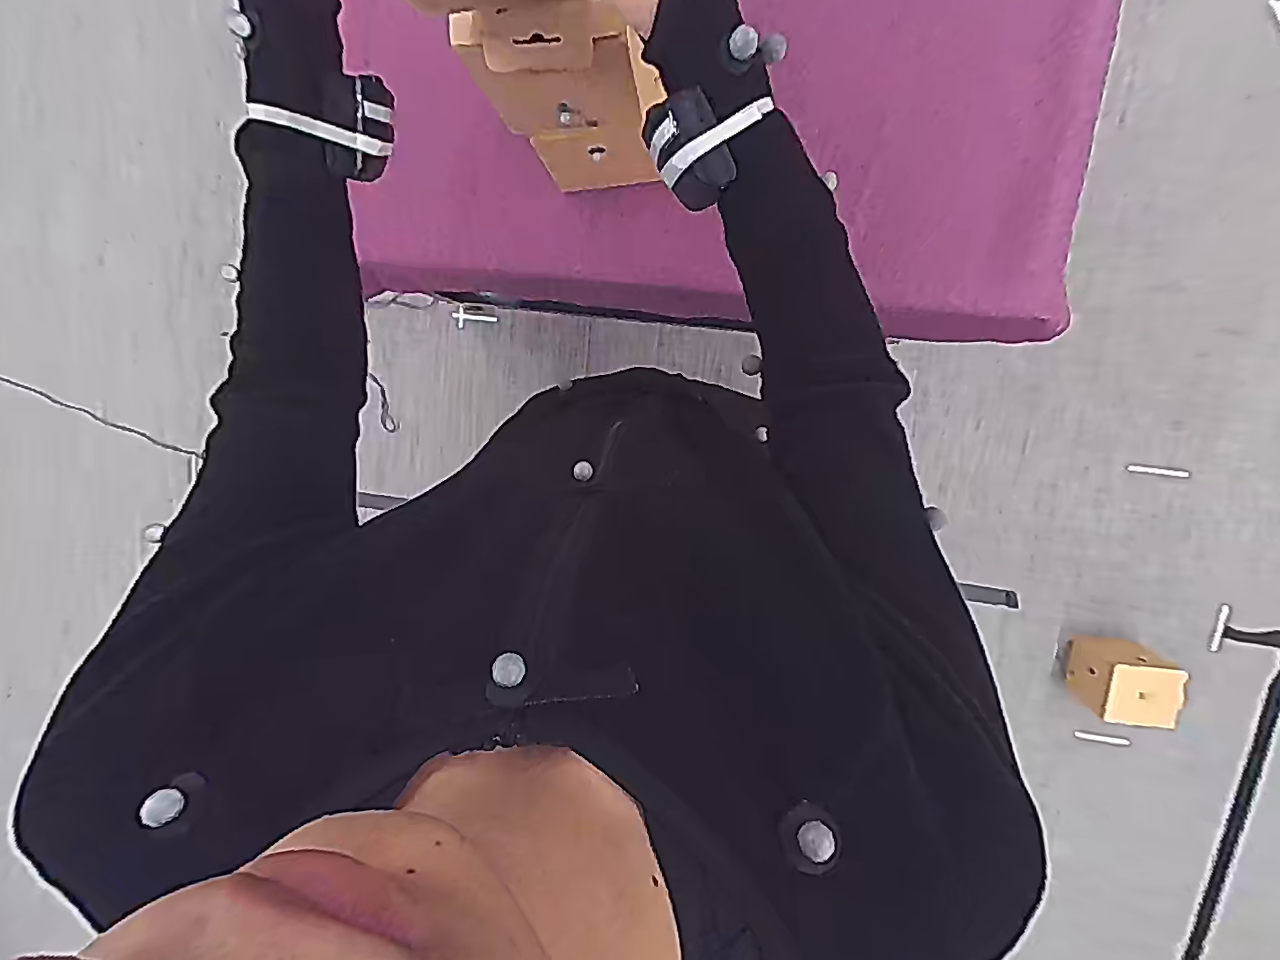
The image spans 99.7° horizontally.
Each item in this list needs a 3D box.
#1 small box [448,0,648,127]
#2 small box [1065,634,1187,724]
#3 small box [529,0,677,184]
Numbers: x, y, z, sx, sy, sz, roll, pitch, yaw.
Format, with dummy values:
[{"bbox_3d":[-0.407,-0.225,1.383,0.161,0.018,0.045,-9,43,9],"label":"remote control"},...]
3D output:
[{"bbox_3d":[-0.082,-0.493,0.548,0.168,0.176,0.179,2,99,6],"label":"small box"},{"bbox_3d":[1.321,0.538,1.485,0.179,0.176,0.168,4,100,5],"label":"small box"},{"bbox_3d":[-0.045,-0.510,0.709,0.179,0.176,0.168,-4,99,6],"label":"small box"}]
